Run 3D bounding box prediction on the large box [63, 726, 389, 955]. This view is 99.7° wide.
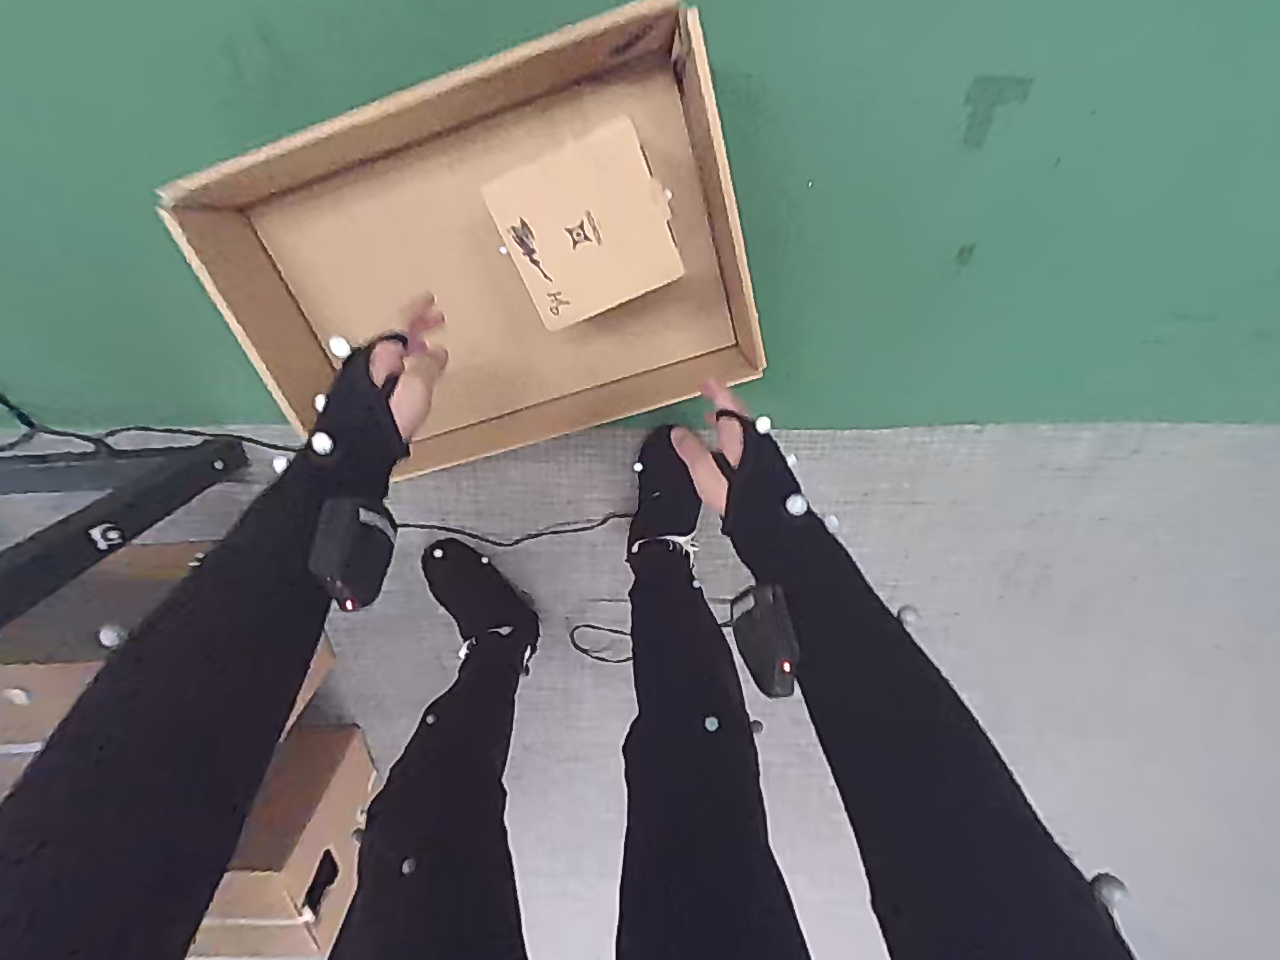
[{"bbox_3d":[-0.827,0.756,1.157,0.408,0.320,0.320,0,116,1],"label":"large box"}]
